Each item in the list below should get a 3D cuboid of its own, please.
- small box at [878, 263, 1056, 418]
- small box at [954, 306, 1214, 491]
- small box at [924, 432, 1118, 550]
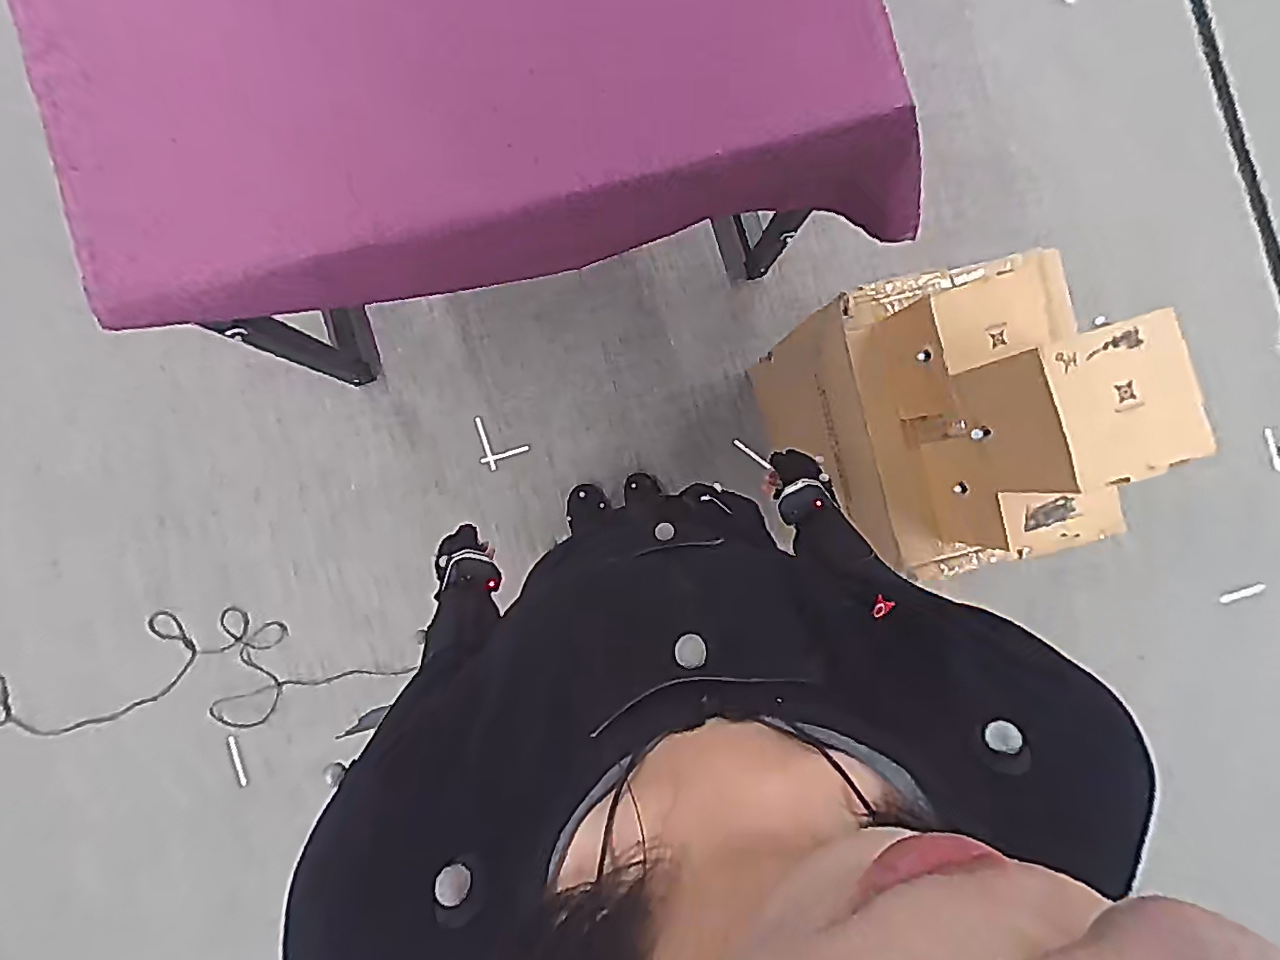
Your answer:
[{"bbox_3d":[0.504,-0.207,0.849,0.168,0.176,0.179,-16,92,-2],"label":"small box"},{"bbox_3d":[0.542,-0.092,0.686,0.168,0.176,0.179,-17,90,-2],"label":"small box"},{"bbox_3d":[0.582,0.001,0.849,0.168,0.176,0.179,-13,88,-2],"label":"small box"}]
